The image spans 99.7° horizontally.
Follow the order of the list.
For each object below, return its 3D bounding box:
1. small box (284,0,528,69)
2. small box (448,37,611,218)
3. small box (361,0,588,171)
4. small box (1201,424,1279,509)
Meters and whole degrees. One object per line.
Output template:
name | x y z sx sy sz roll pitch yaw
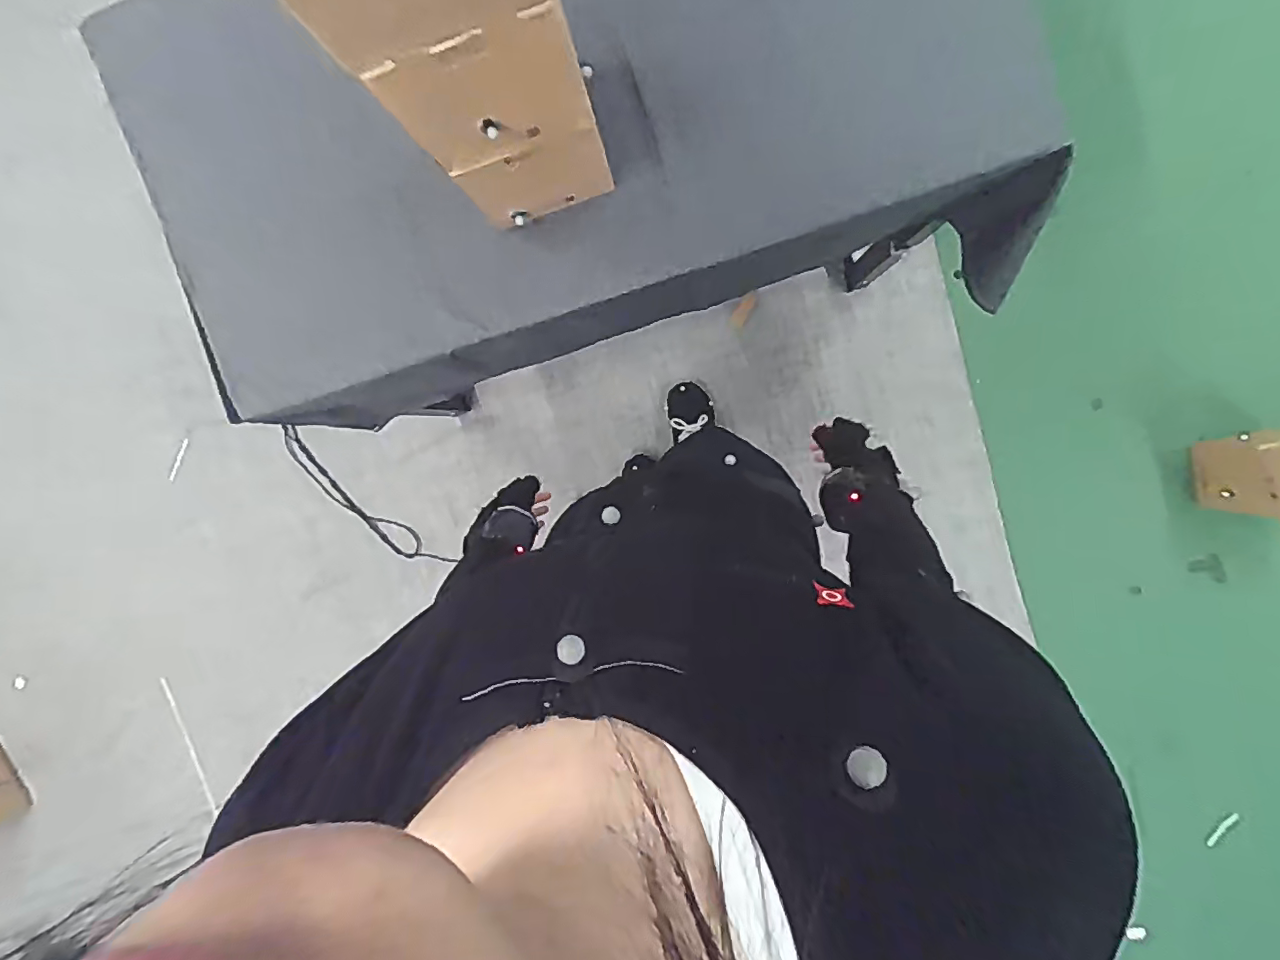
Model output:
small box | -0.172 -0.410 0.332 0.179 0.176 0.168 -15 94 7
small box | -0.144 -0.445 0.655 0.168 0.176 0.179 -17 93 7
small box | -0.159 -0.428 0.495 0.168 0.176 0.179 -17 94 7
small box | 1.476 -0.035 1.266 0.179 0.176 0.168 -11 95 7
